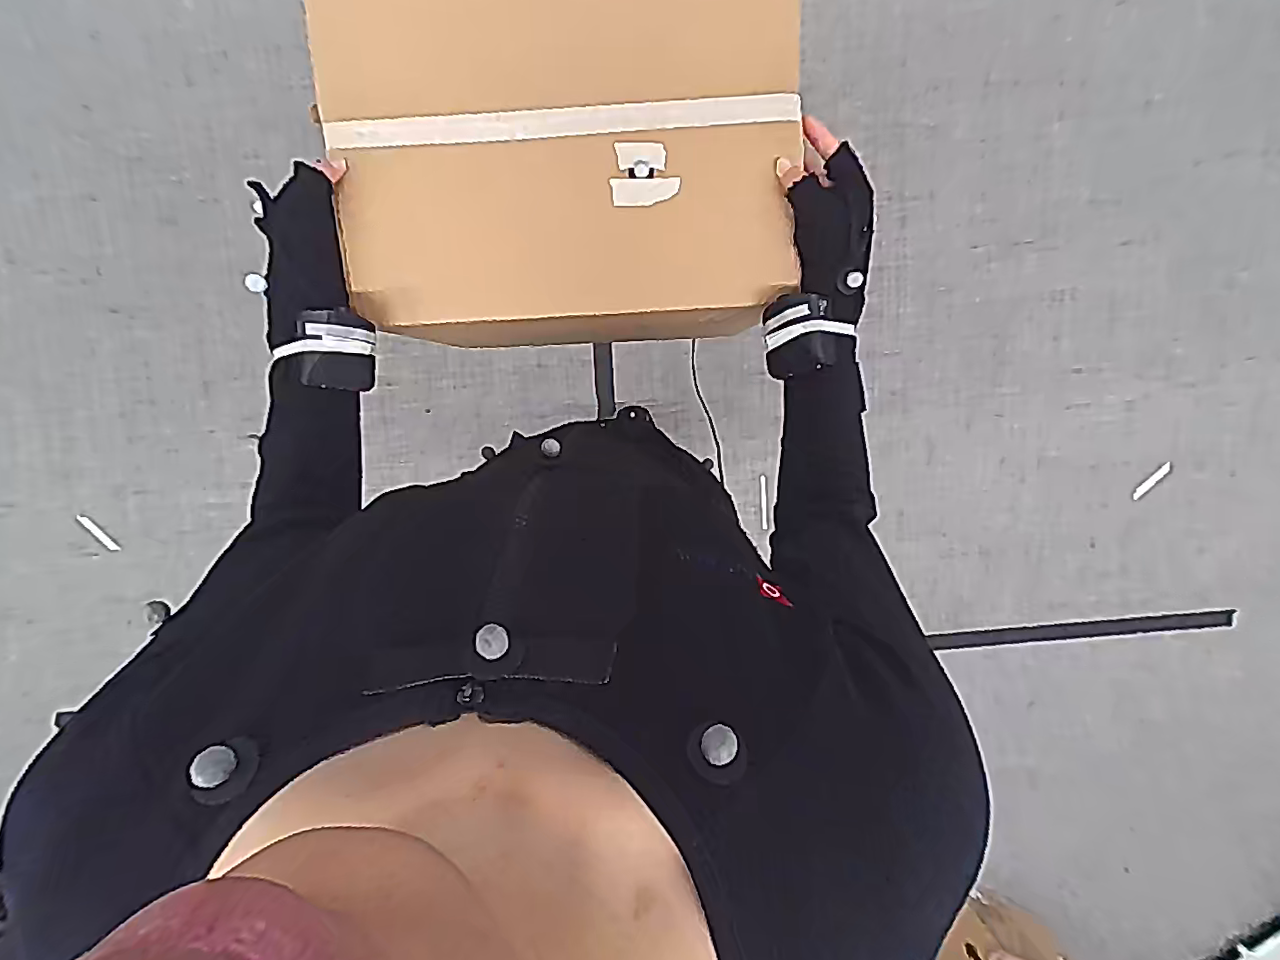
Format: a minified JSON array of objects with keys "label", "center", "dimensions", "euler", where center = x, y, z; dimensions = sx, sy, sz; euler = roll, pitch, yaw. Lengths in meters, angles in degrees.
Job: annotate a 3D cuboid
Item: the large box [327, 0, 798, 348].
[{"label":"large box","center":[-0.064,-0.334,0.624],"dimensions":[0.408,0.320,0.320],"euler":[-3,101,0]}]
